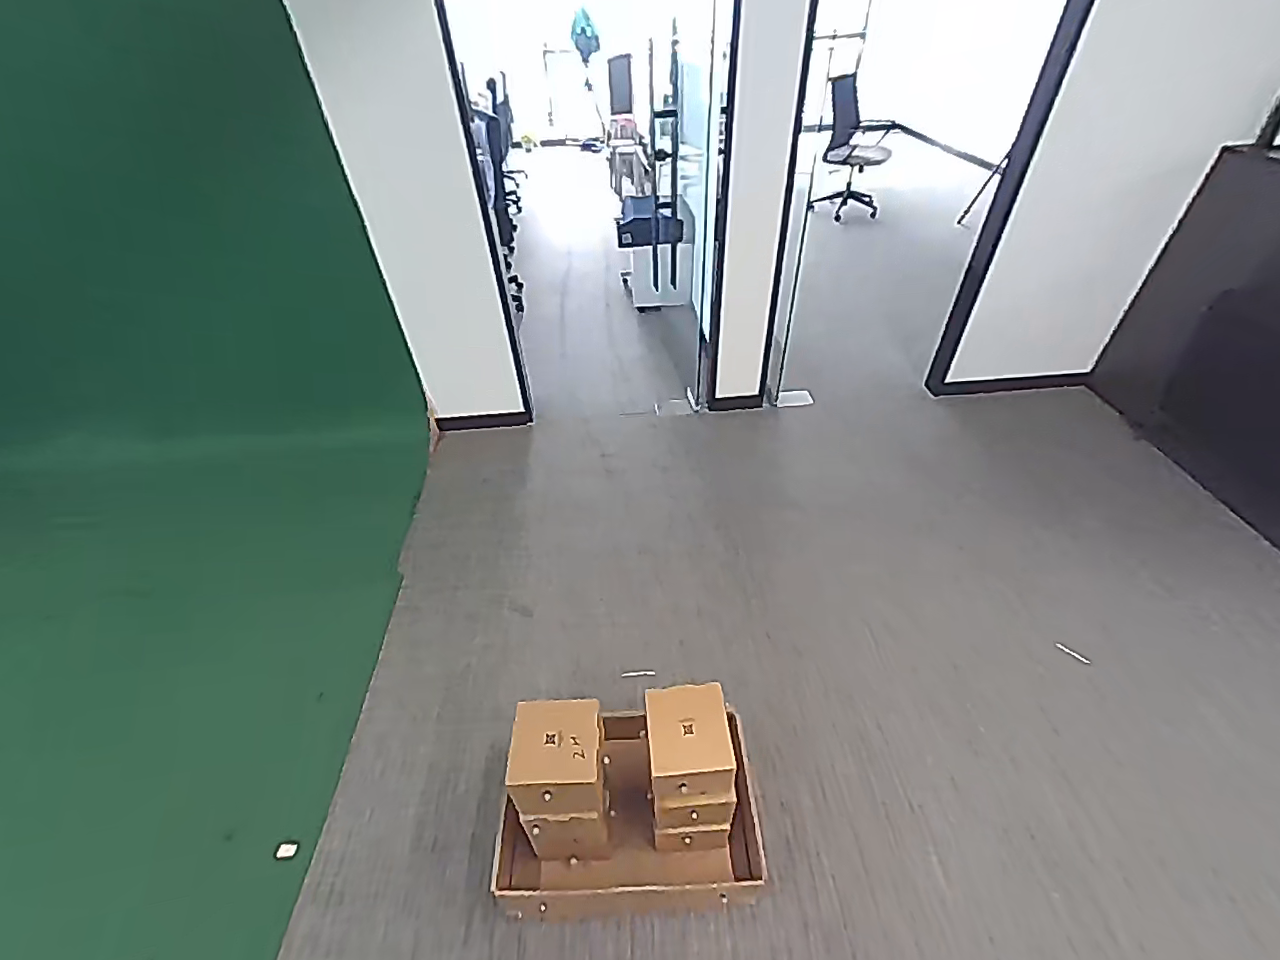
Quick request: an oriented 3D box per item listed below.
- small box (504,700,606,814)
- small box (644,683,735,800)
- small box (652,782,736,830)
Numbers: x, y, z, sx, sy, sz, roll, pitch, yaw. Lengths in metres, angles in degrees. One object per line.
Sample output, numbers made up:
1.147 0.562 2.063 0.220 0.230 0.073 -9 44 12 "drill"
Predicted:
-0.167 0.577 1.124 0.179 0.176 0.168 -2 42 0 "small box"
0.102 0.557 1.142 0.168 0.176 0.179 -6 43 -1 "small box"
0.116 0.685 1.240 0.179 0.176 0.168 -4 43 -1 "small box"
